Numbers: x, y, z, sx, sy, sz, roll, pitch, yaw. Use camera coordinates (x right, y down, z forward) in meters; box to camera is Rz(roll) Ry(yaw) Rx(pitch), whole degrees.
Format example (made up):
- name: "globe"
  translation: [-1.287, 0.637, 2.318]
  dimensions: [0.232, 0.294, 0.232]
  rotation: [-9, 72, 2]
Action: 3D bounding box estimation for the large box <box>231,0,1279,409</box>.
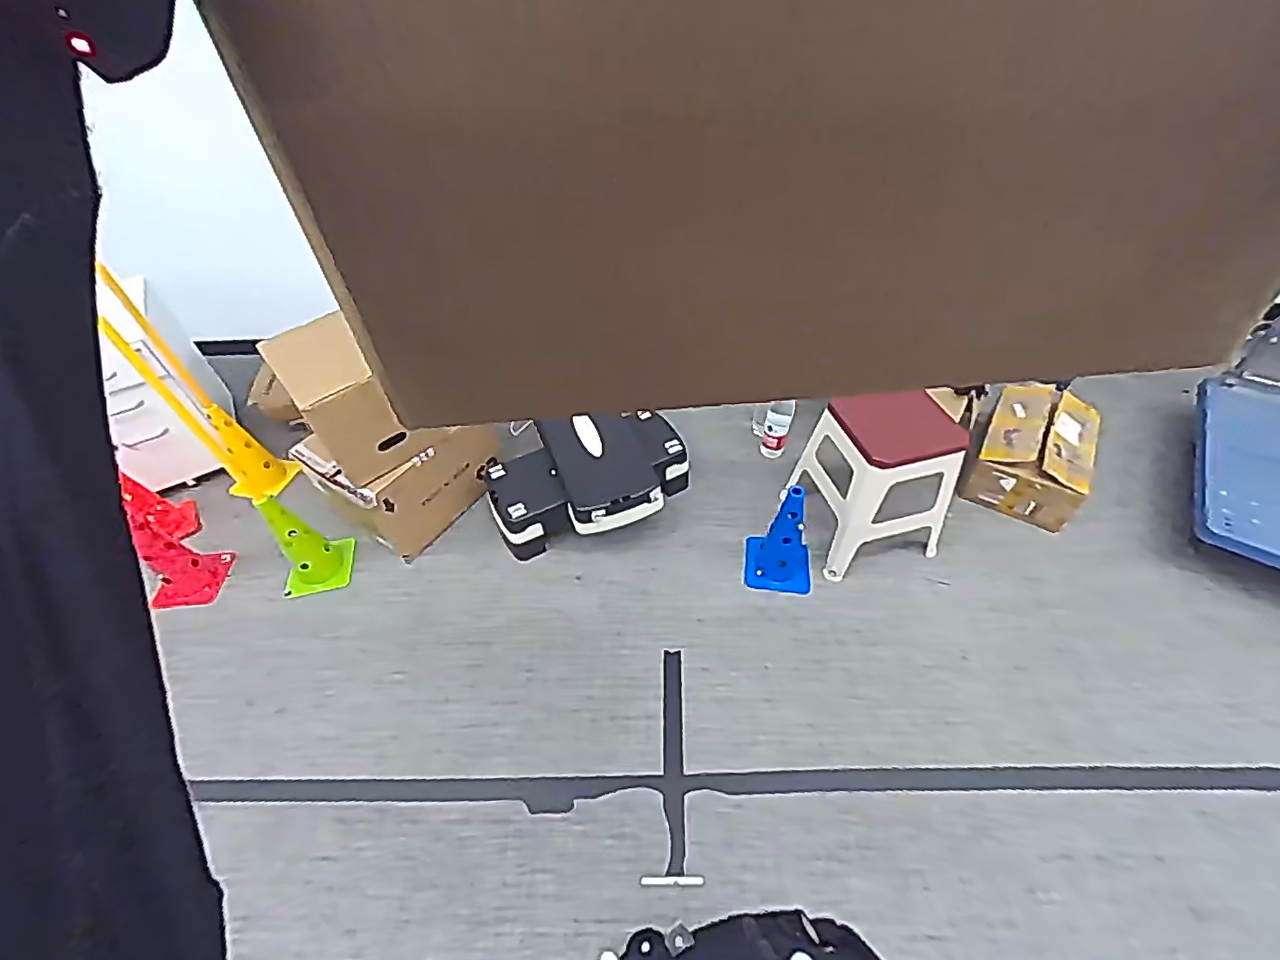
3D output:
- name: "large box"
  translation: [0.062, -0.258, 0.275]
  dimensions: [0.408, 0.320, 0.320]
  rotation: [-4, 44, 0]
